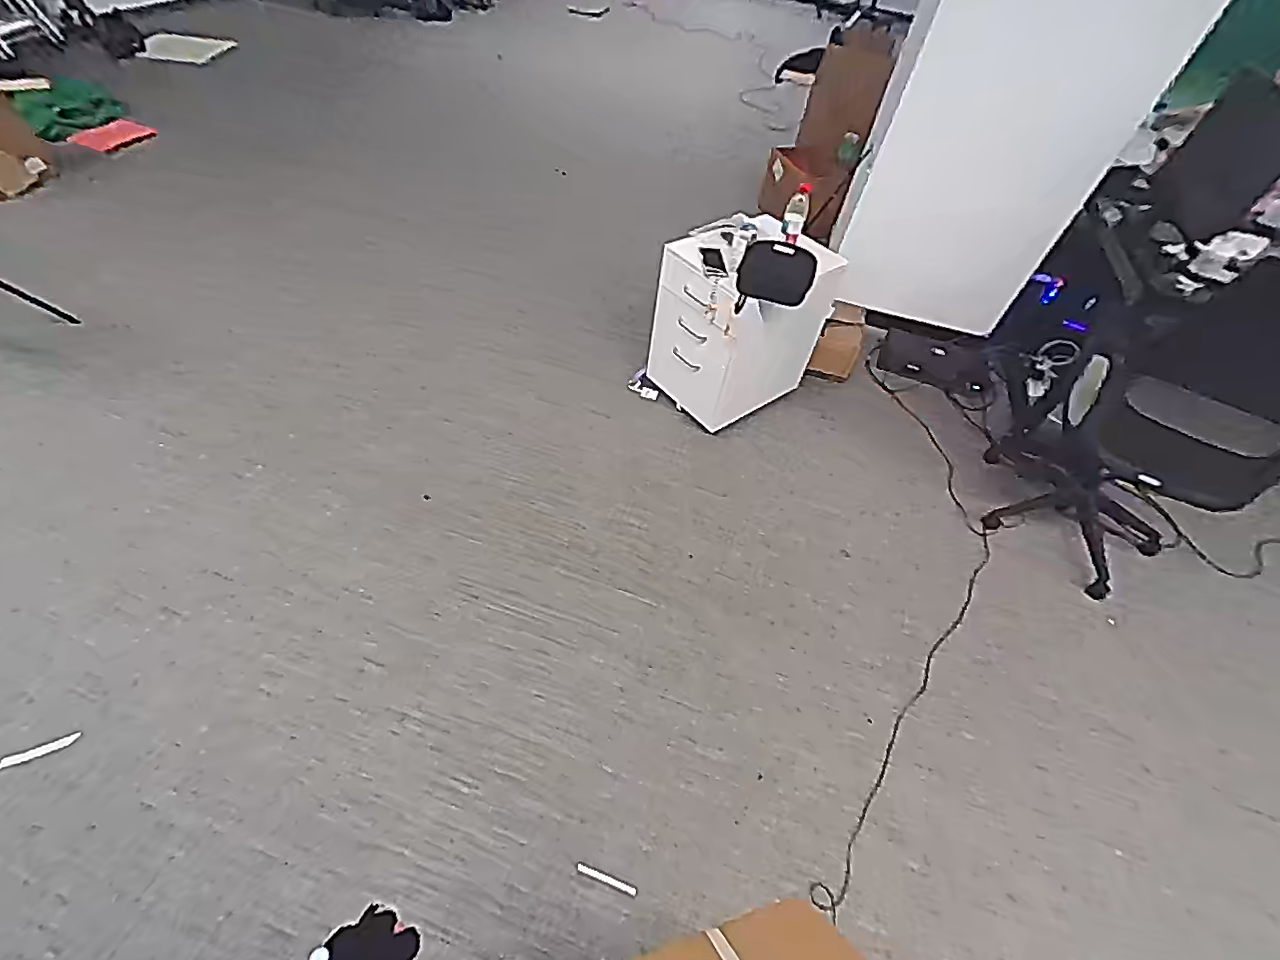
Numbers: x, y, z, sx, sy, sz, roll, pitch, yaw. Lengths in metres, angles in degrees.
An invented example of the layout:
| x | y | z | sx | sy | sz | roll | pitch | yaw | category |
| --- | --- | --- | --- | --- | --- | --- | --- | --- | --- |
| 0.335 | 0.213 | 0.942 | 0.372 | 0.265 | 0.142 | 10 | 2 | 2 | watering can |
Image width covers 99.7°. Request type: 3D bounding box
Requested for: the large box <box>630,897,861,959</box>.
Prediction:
| x | y | z | sx | sy | sz | roll | pitch | yaw | category |
| --- | --- | --- | --- | --- | --- | --- | --- | --- | --- |
| 0.187 | 0.801 | 0.629 | 0.320 | 0.408 | 0.320 | -9 | 80 | -16 | large box |
